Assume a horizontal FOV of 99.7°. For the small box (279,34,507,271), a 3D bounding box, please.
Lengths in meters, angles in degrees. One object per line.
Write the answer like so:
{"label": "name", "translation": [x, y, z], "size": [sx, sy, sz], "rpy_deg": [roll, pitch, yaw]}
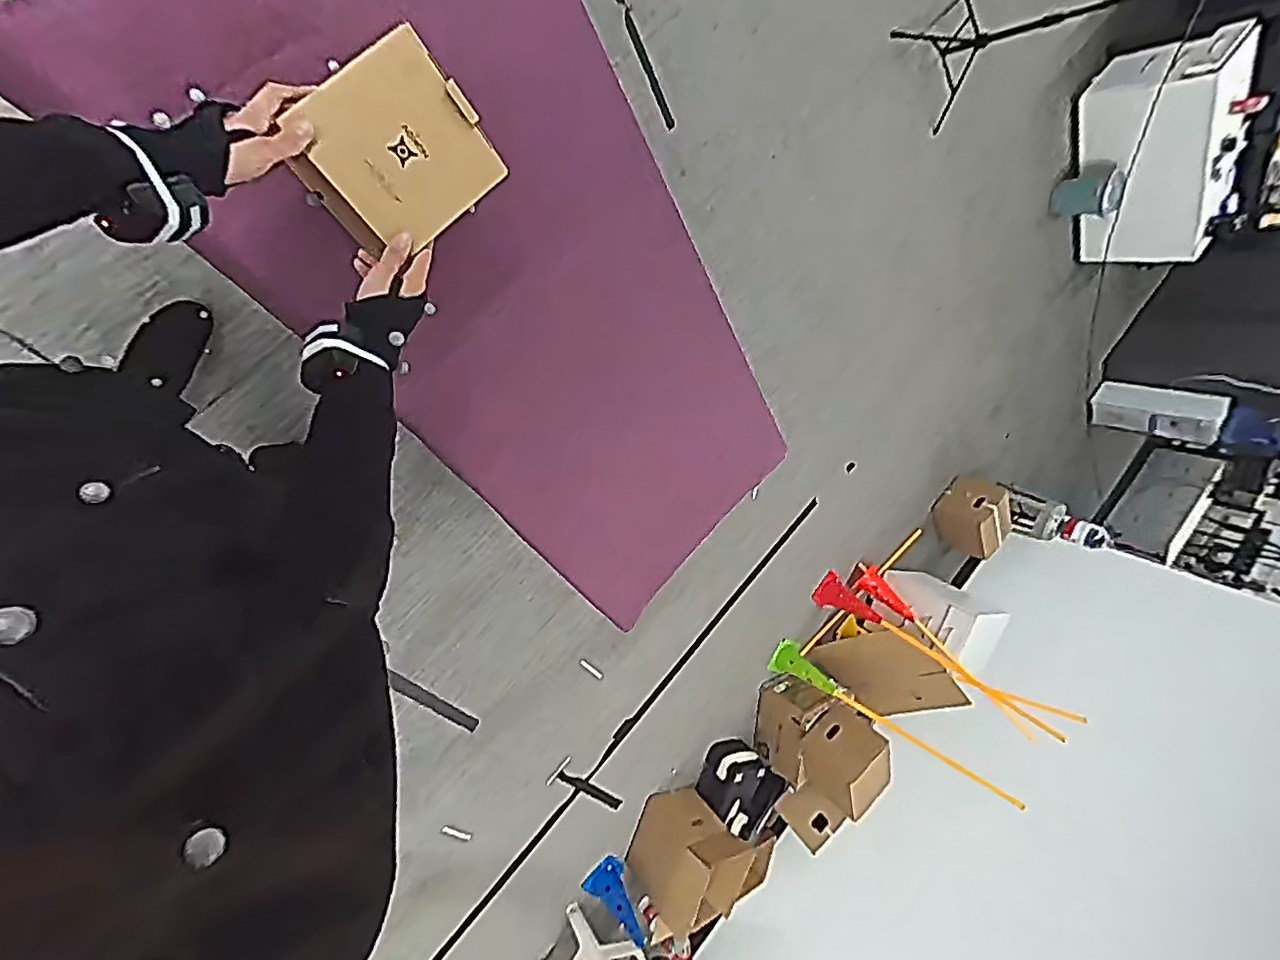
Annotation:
{"label": "small box", "translation": [-0.300, -0.375, 0.648], "size": [0.179, 0.176, 0.168], "rpy_deg": [-47, 128, -11]}
